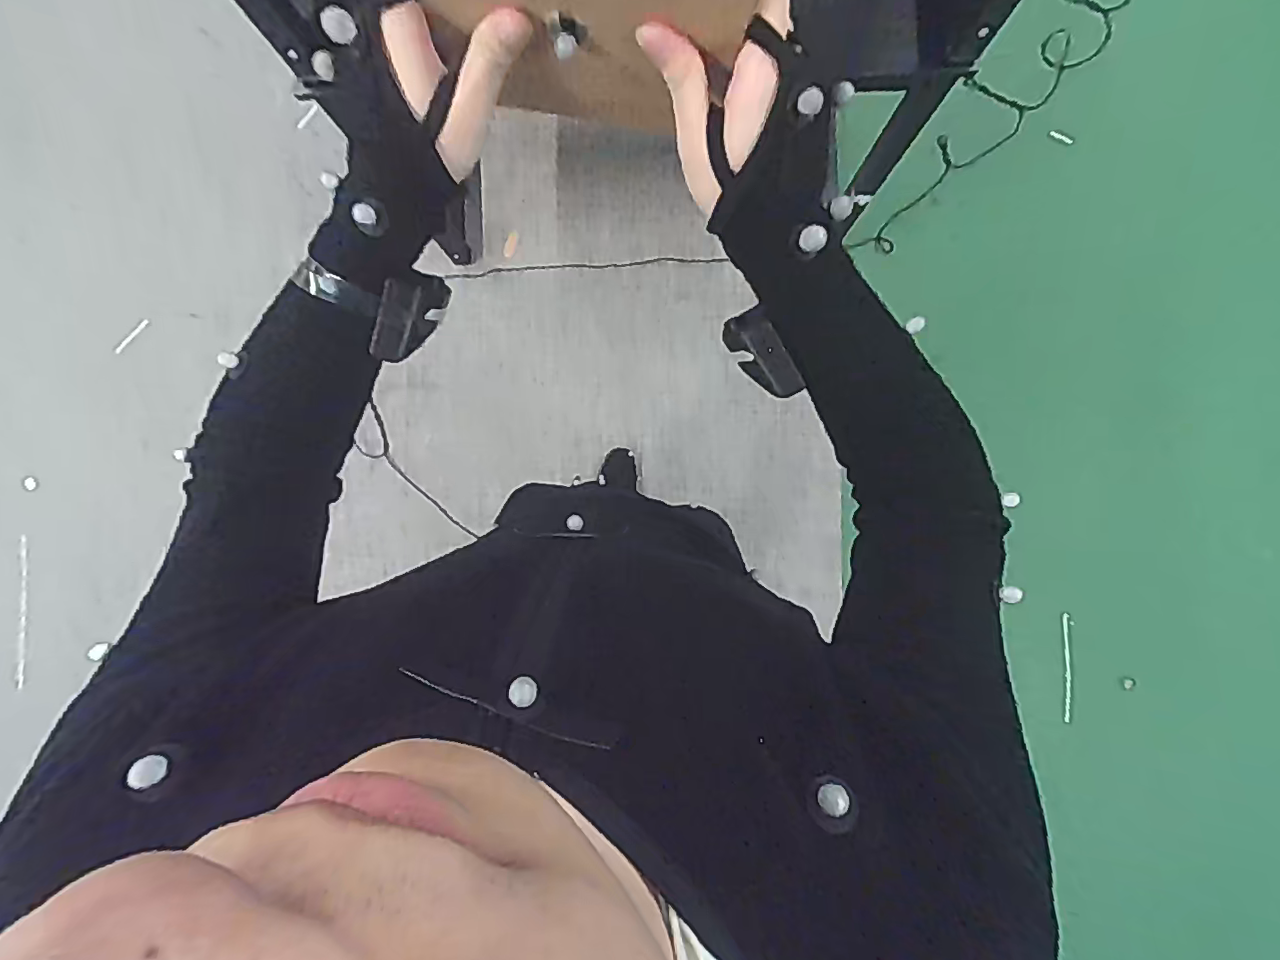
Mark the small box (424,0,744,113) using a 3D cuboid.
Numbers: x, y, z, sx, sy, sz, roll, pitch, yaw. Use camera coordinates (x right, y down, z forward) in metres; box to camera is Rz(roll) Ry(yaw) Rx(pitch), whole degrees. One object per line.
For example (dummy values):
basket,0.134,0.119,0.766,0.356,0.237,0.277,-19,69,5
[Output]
small box,-0.022,-0.325,0.278,0.179,0.176,0.168,8,98,-1
